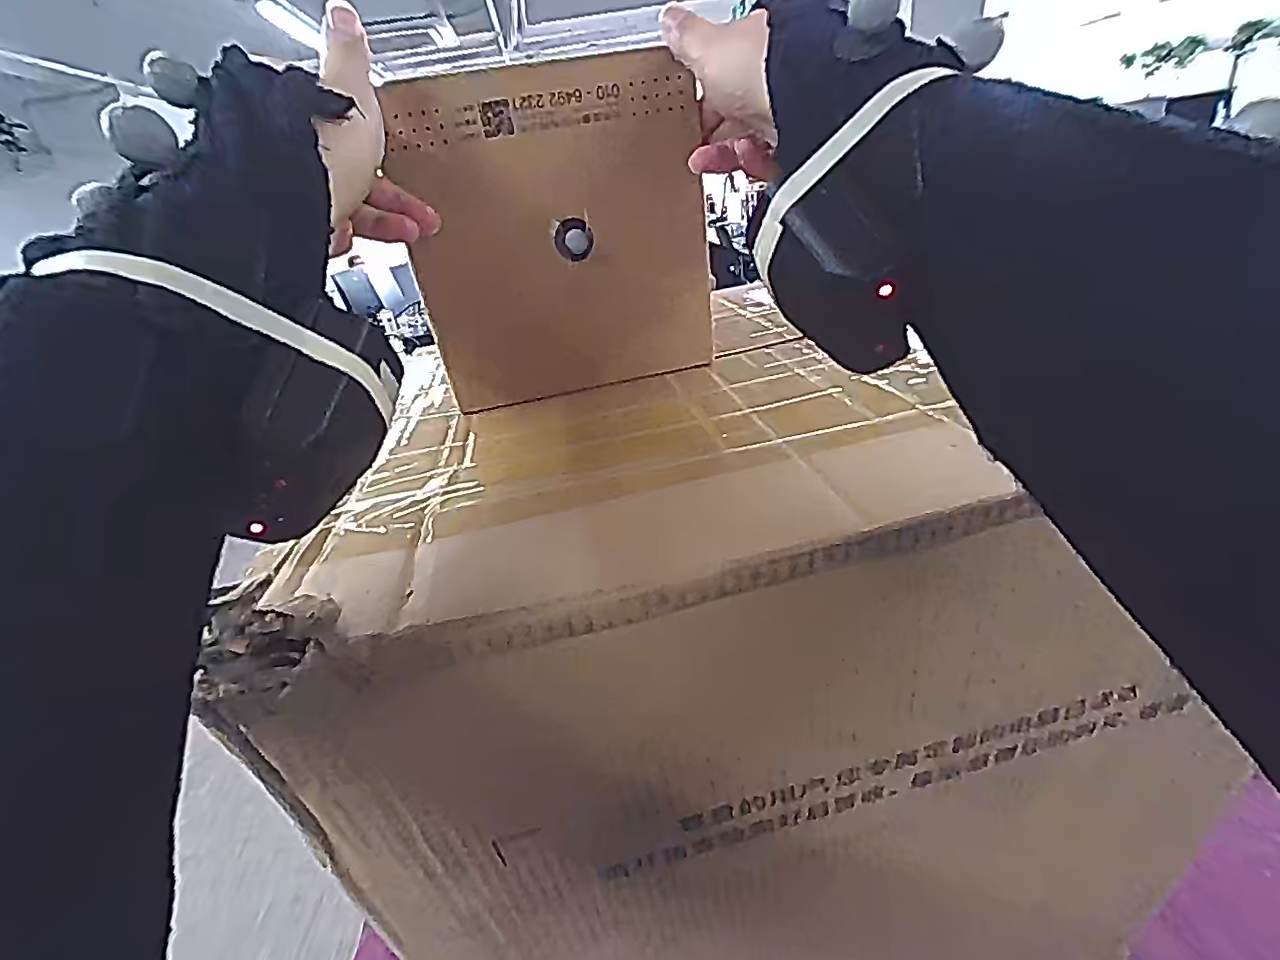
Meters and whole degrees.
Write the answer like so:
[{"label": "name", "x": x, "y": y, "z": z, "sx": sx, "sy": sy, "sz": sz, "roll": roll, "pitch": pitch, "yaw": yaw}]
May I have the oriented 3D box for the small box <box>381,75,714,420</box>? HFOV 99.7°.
[{"label": "small box", "x": -0.058, "y": -0.164, "z": 0.376, "sx": 0.168, "sy": 0.176, "sz": 0.179, "roll": -12, "pitch": 31, "yaw": -7}]
